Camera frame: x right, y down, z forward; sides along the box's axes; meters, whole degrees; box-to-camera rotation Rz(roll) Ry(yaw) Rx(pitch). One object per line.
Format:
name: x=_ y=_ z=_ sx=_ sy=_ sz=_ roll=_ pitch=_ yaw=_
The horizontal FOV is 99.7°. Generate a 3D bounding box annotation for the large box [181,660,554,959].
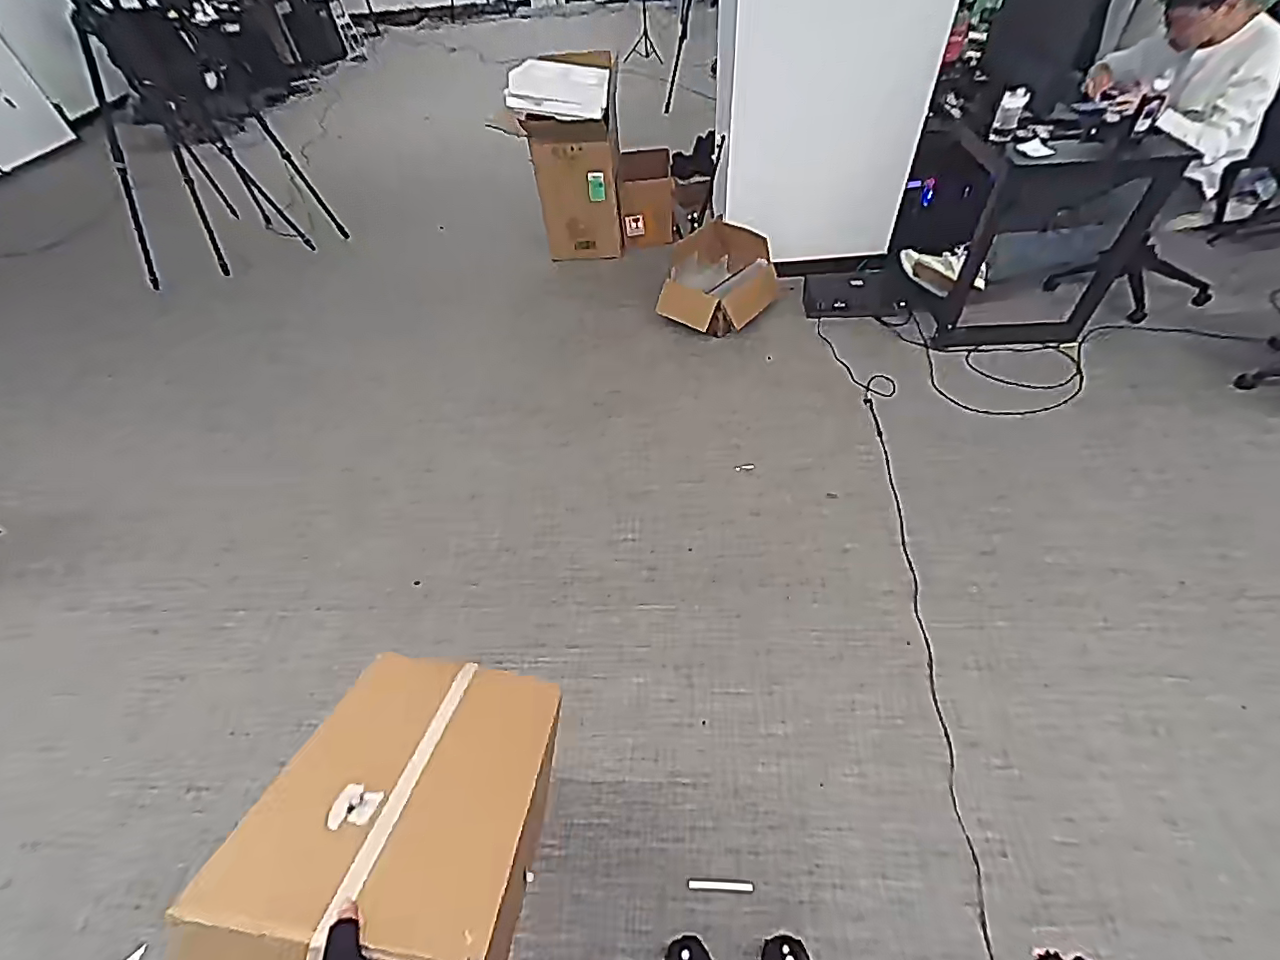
large box: x=-0.326 y=0.535 z=0.777 sx=0.320 sy=0.320 sz=0.408 roll=9 pitch=22 yaw=0
